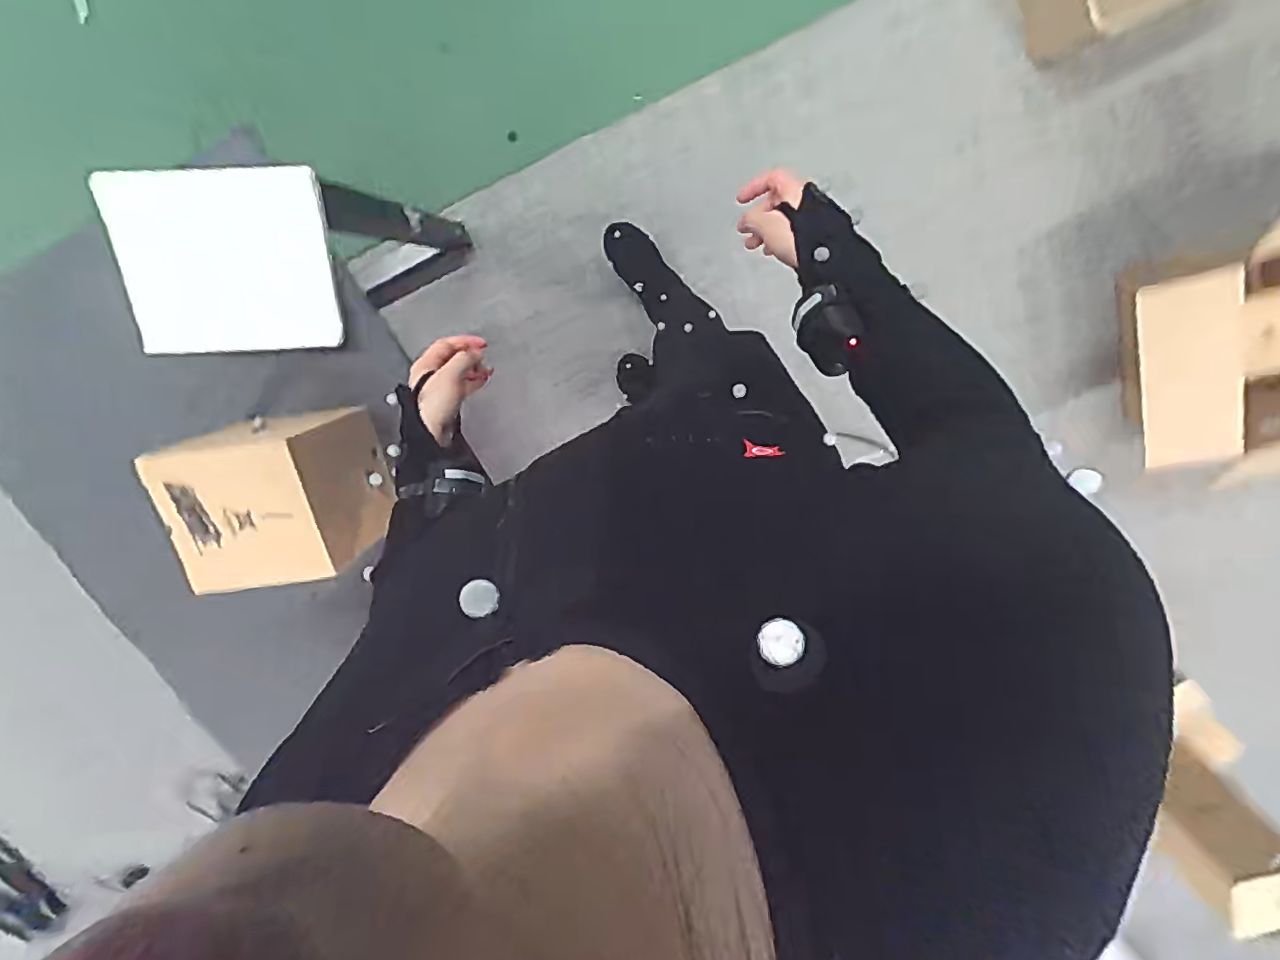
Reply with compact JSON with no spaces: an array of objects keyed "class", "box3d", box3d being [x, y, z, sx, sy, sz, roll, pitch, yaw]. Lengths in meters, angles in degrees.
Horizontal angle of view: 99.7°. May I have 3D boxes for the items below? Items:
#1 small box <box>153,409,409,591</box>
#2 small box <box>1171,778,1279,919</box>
[{"class":"small box","box3d":[-0.424,0.017,0.673,0.179,0.176,0.168,-8,109,4]},{"class":"small box","box3d":[1.306,0.787,1.164,0.168,0.176,0.179,-21,109,8]}]
